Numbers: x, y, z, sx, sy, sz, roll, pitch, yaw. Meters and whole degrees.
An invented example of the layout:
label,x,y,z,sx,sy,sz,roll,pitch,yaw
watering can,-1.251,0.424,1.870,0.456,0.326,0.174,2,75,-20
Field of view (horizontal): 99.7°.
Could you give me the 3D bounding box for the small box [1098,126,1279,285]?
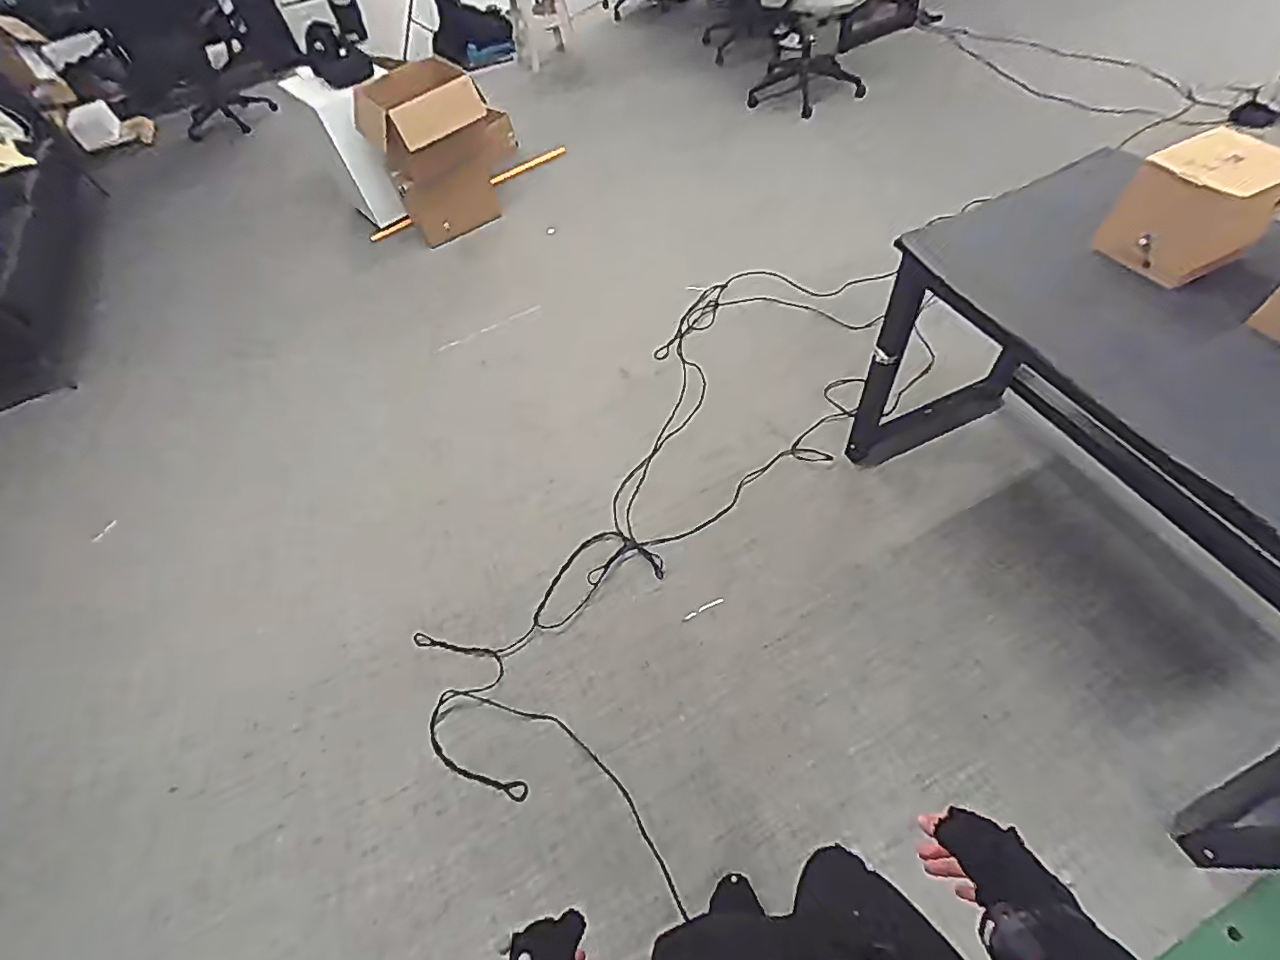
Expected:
label,x,y,z,sx,sy,sz,roll,pitch,yaw
small box,0.976,-0.478,0.951,0.179,0.176,0.168,-24,56,-8
